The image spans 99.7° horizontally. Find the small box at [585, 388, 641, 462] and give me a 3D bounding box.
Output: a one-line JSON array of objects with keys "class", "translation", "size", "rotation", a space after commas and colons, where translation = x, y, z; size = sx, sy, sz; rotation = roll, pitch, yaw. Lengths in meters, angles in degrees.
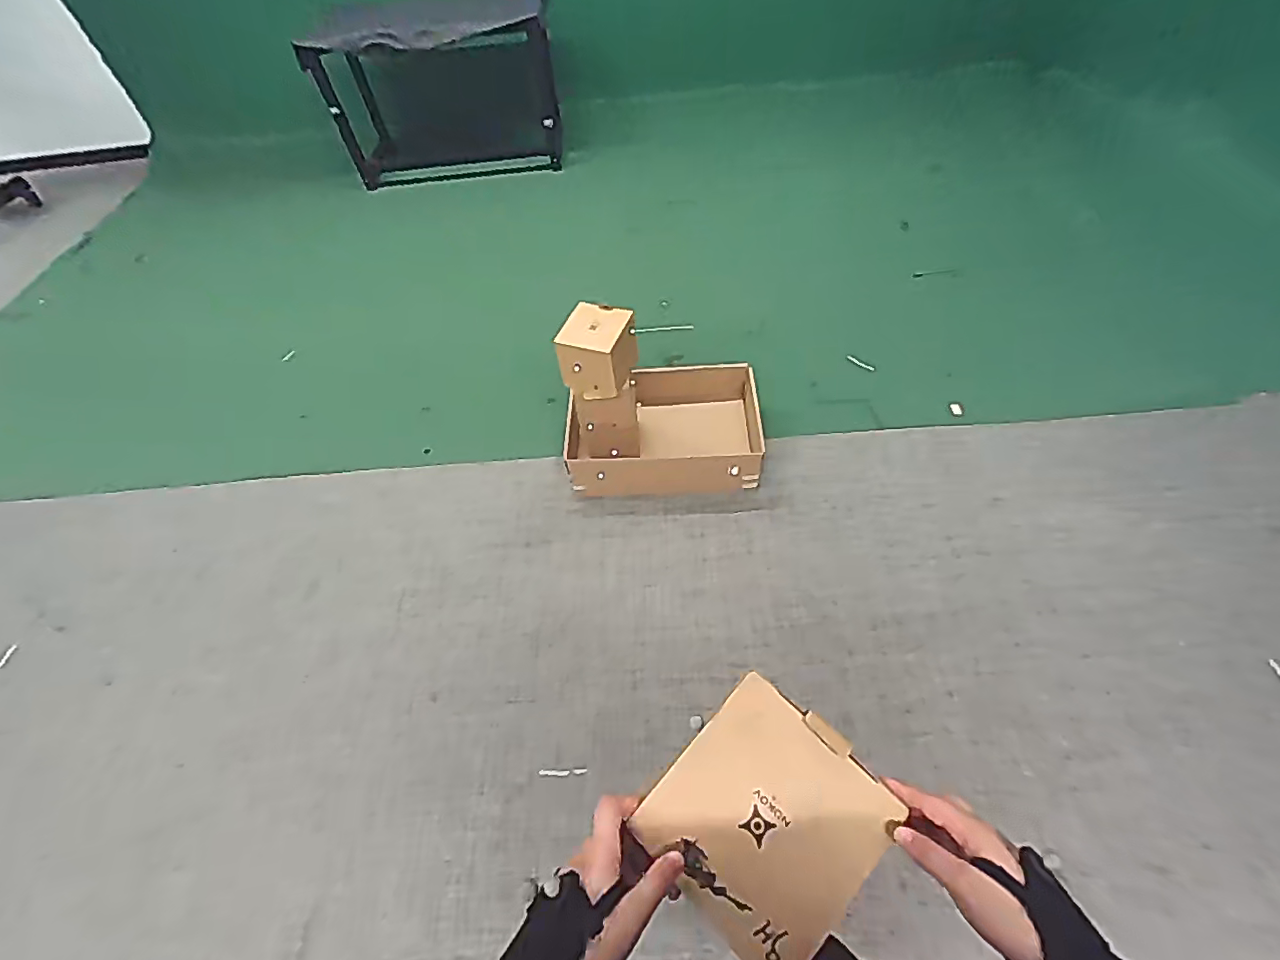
[{"class": "small box", "translation": [-0.086, -0.180, 1.787], "size": [0.168, 0.176, 0.179], "rotation": [-5, 54, 2]}]

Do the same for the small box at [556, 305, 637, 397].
[{"class": "small box", "translation": [-0.112, -0.359, 1.514], "size": [0.168, 0.176, 0.179], "rotation": [15, 56, 15]}]

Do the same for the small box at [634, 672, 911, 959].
[{"class": "small box", "translation": [0.115, 0.314, 0.523], "size": [0.168, 0.176, 0.179], "rotation": [40, 76, 21]}]

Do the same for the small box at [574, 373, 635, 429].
[{"class": "small box", "translation": [-0.103, -0.268, 1.649], "size": [0.168, 0.176, 0.179], "rotation": [-3, 53, 2]}]
